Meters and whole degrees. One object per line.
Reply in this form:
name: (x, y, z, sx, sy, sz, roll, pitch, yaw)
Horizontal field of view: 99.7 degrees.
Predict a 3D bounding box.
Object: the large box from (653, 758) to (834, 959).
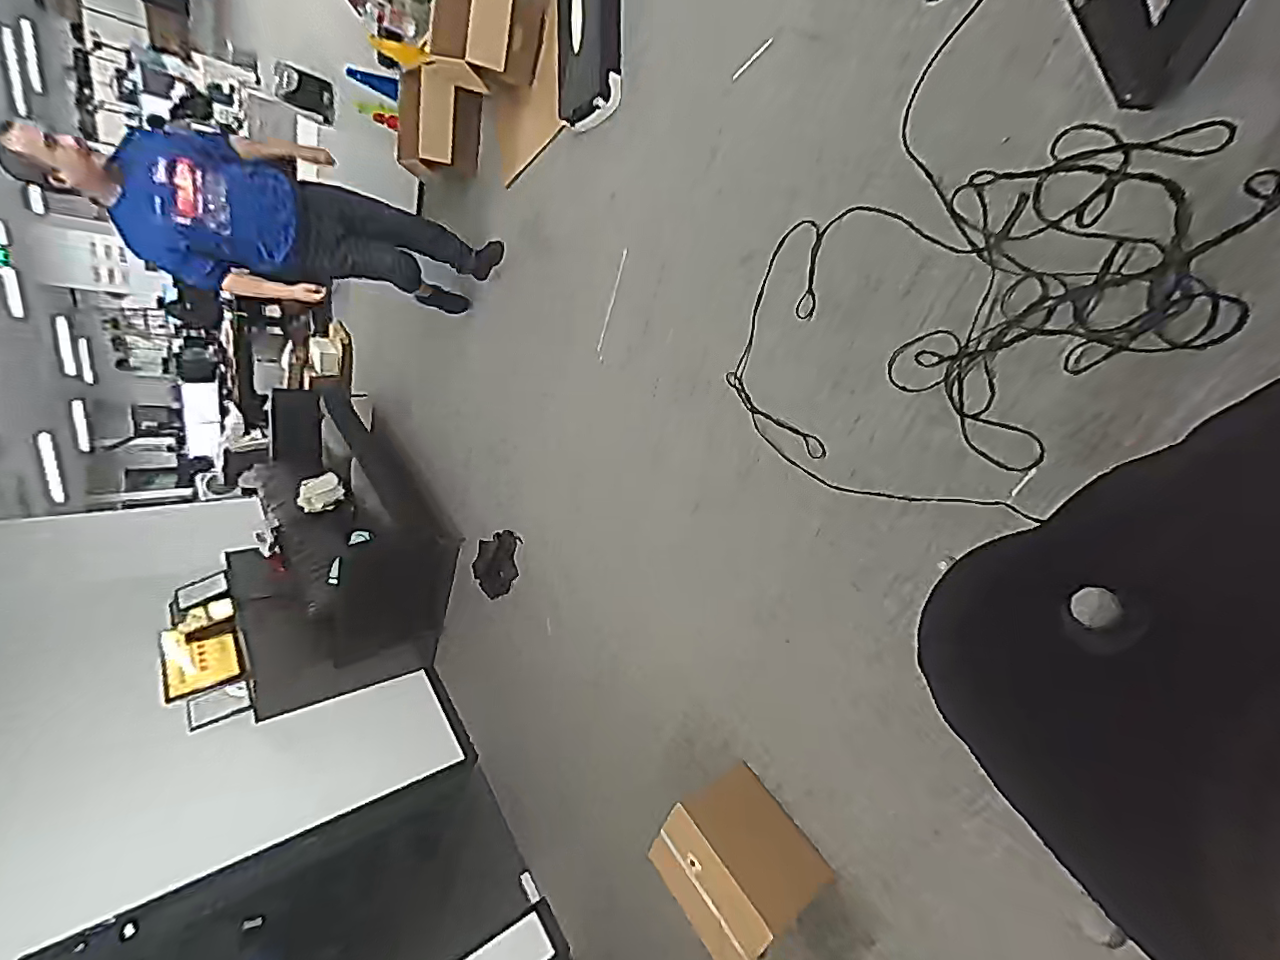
large box: (0.314, 1.188, 1.698, 0.408, 0.320, 0.320, 43, 125, 38)
